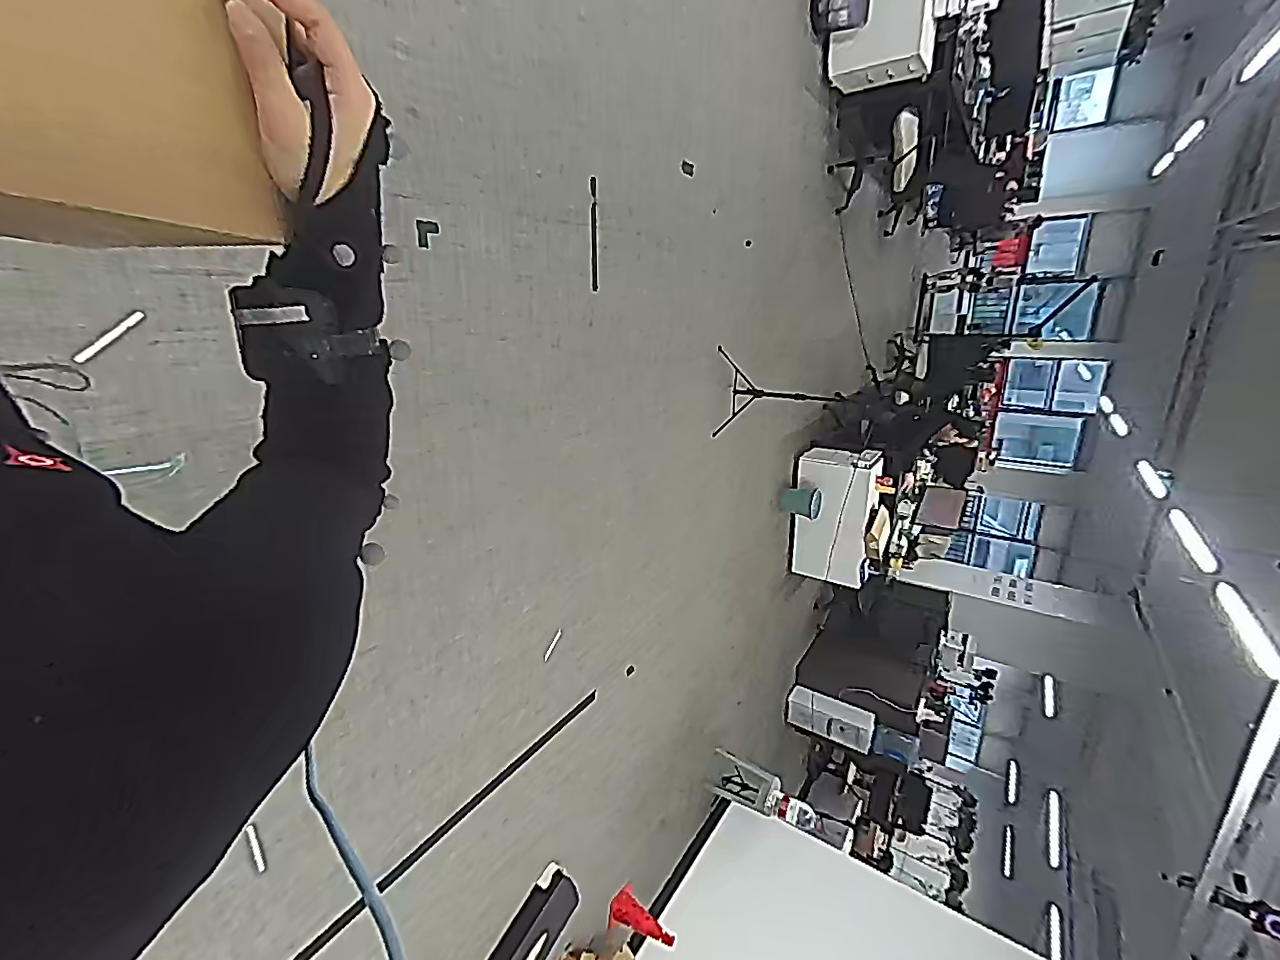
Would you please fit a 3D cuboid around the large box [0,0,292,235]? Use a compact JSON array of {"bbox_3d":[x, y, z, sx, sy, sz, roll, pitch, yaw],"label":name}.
[{"bbox_3d":[-0.435,-0.294,0.202,0.408,0.320,0.320,-21,120,-59],"label":"large box"}]
